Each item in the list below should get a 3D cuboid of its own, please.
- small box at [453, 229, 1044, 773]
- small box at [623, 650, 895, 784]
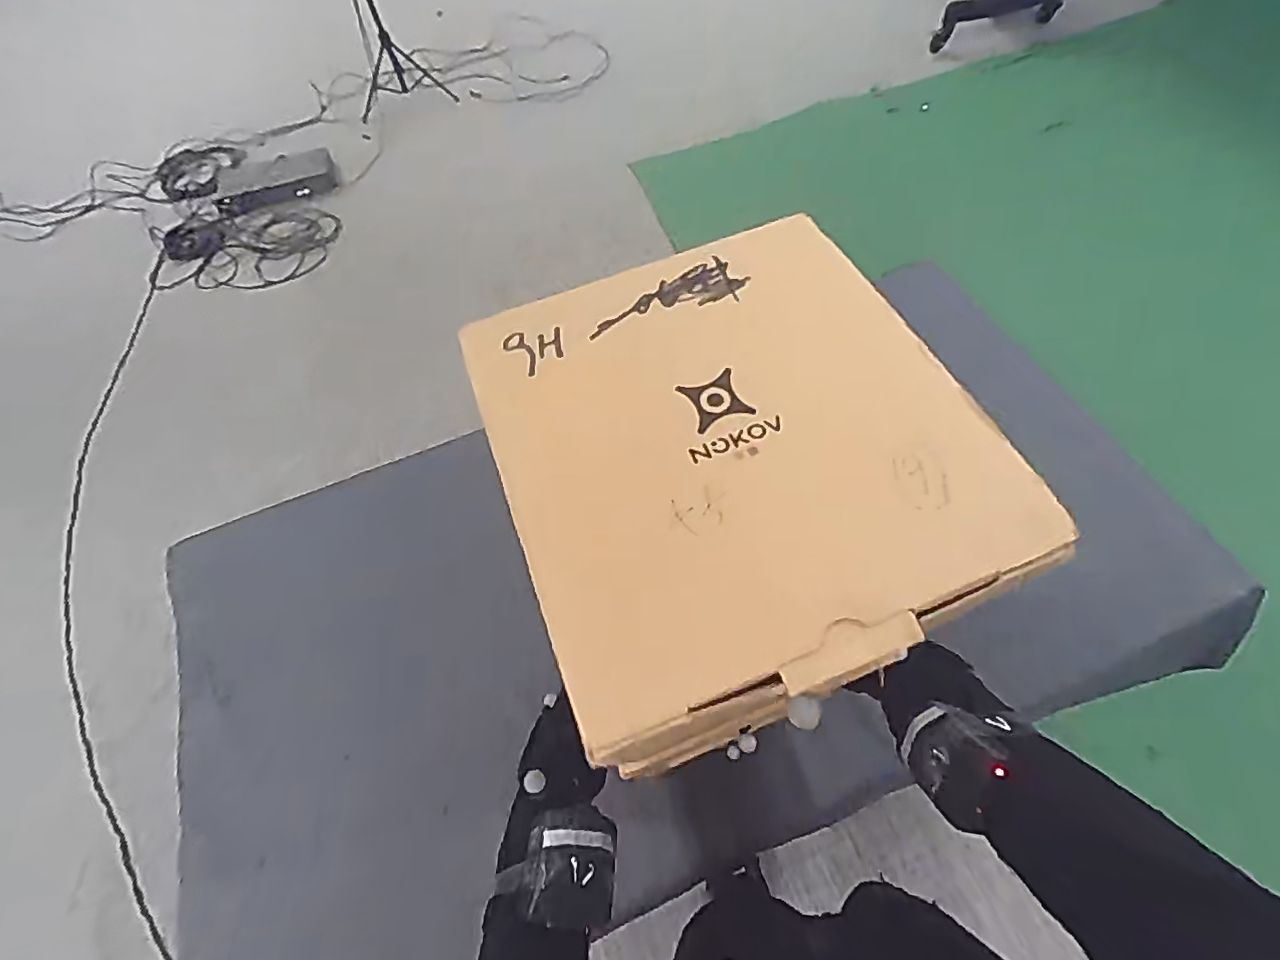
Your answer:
[{"bbox_3d":[0.031,0.021,0.271,0.168,0.176,0.179,-20,64,-6],"label":"small box"},{"bbox_3d":[0.046,0.105,0.412,0.179,0.176,0.168,-22,64,-8],"label":"small box"}]
